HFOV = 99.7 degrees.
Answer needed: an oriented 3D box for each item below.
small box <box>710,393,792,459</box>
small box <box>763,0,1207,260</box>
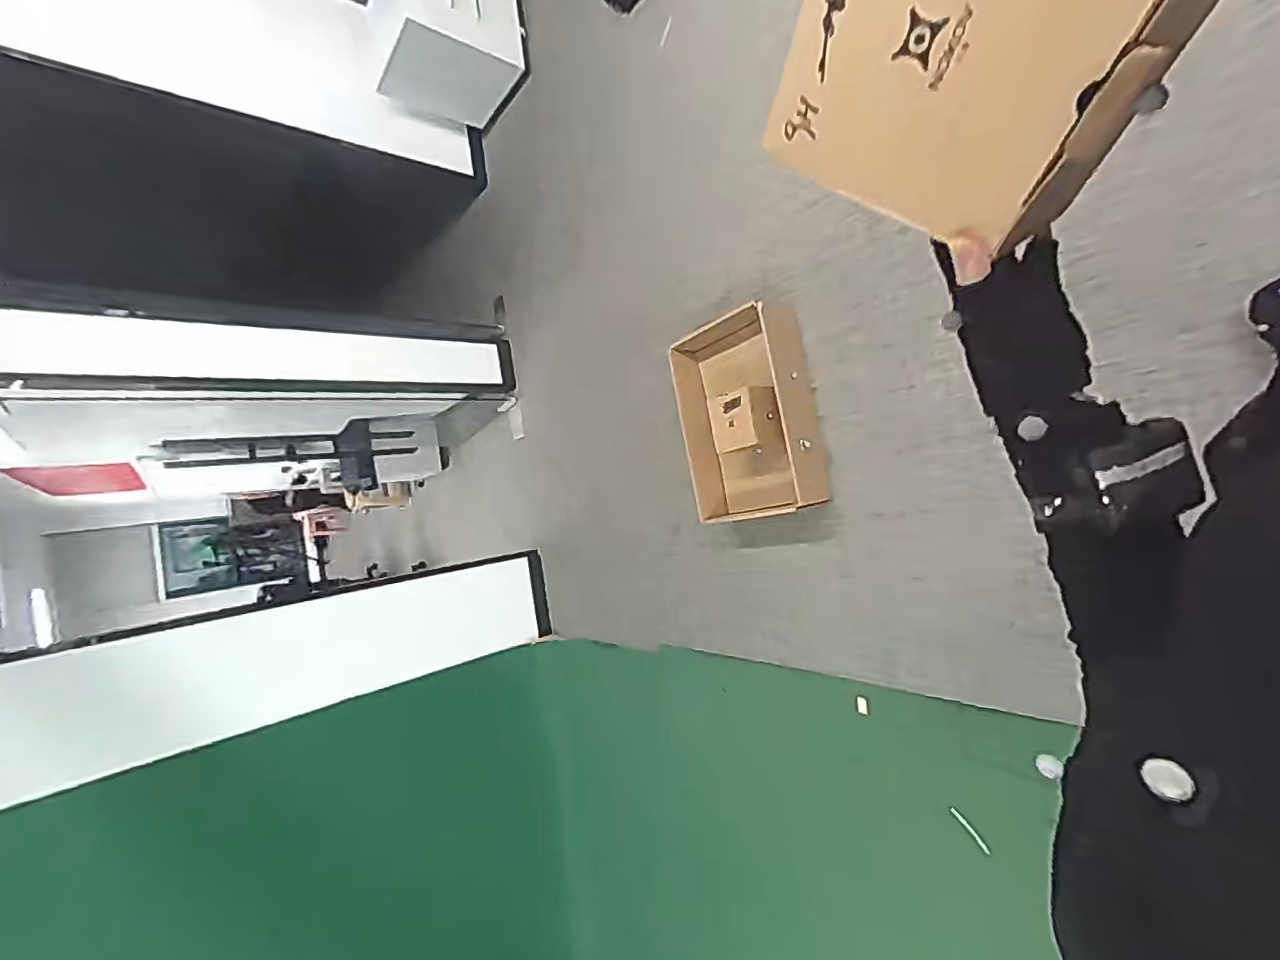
[{"bbox_3d":[0.346,-0.167,1.681,0.168,0.176,0.179,-14,86,51],"label":"small box"},{"bbox_3d":[0.216,-0.270,0.341,0.179,0.176,0.168,40,142,22],"label":"small box"}]
